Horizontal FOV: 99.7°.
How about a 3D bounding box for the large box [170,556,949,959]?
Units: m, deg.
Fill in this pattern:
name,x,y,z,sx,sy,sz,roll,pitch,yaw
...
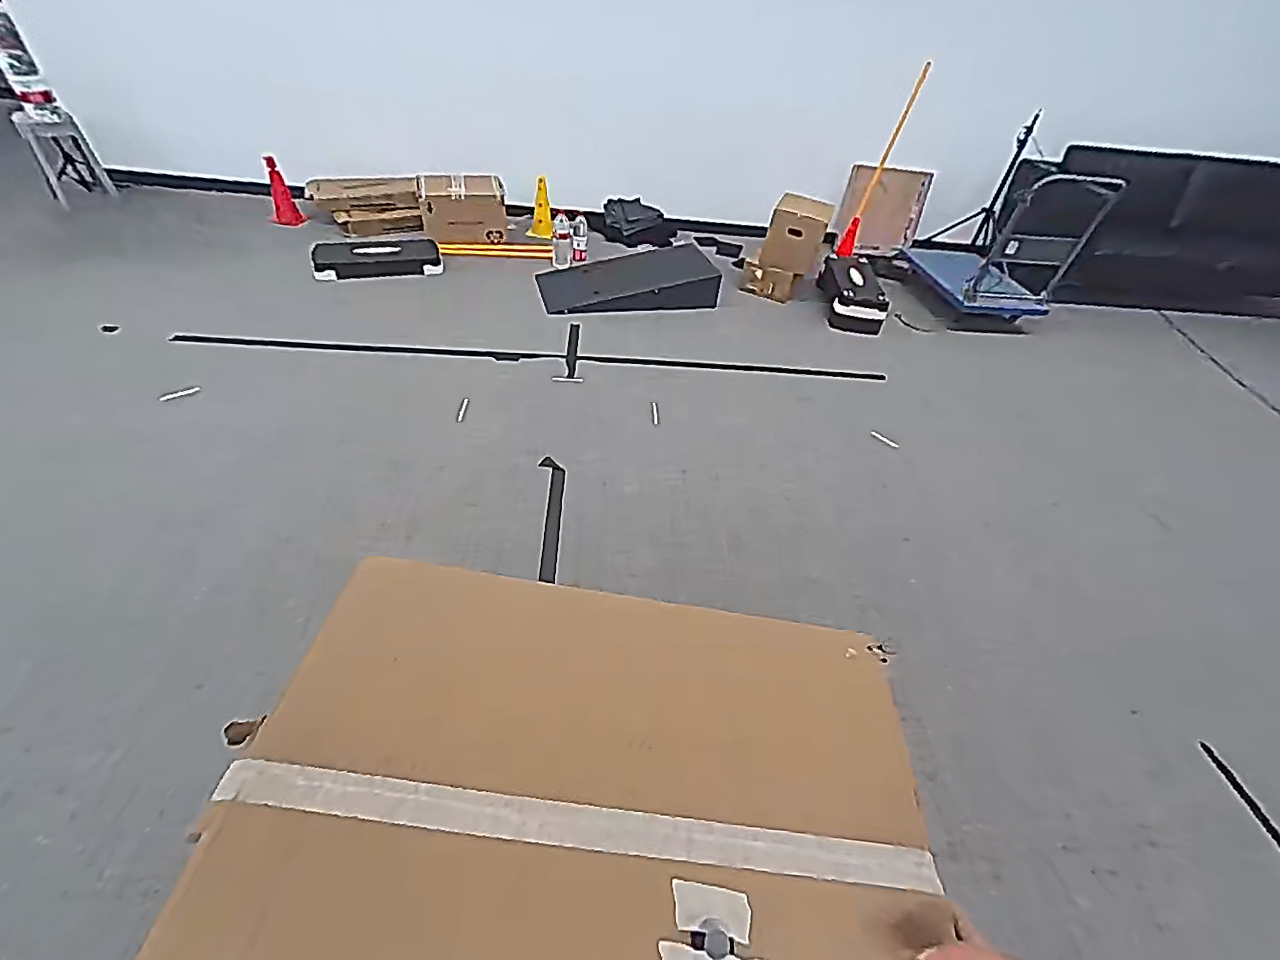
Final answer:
name,x,y,z,sx,sy,sz,roll,pitch,yaw
large box,-0.045,0.300,0.429,0.408,0.320,0.320,11,46,-3
